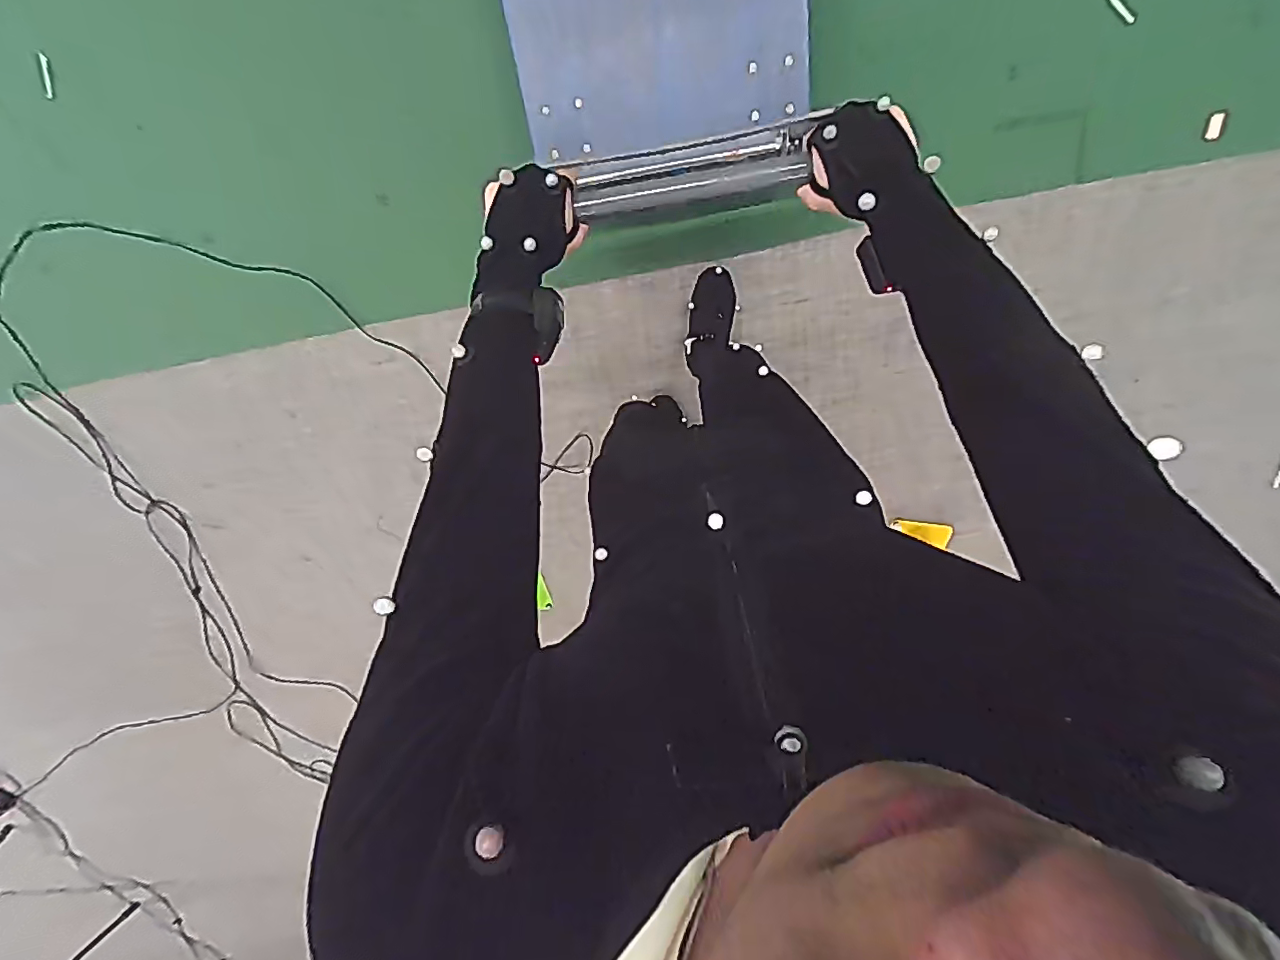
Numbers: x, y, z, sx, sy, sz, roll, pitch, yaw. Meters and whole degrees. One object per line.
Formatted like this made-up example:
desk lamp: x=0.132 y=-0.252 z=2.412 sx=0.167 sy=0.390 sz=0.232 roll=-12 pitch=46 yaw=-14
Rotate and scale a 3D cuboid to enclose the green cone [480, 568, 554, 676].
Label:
green cone: x=-0.432 y=0.476 z=1.741 sx=0.202 sy=0.368 sz=0.200 roll=-11 pitch=115 yaw=11
